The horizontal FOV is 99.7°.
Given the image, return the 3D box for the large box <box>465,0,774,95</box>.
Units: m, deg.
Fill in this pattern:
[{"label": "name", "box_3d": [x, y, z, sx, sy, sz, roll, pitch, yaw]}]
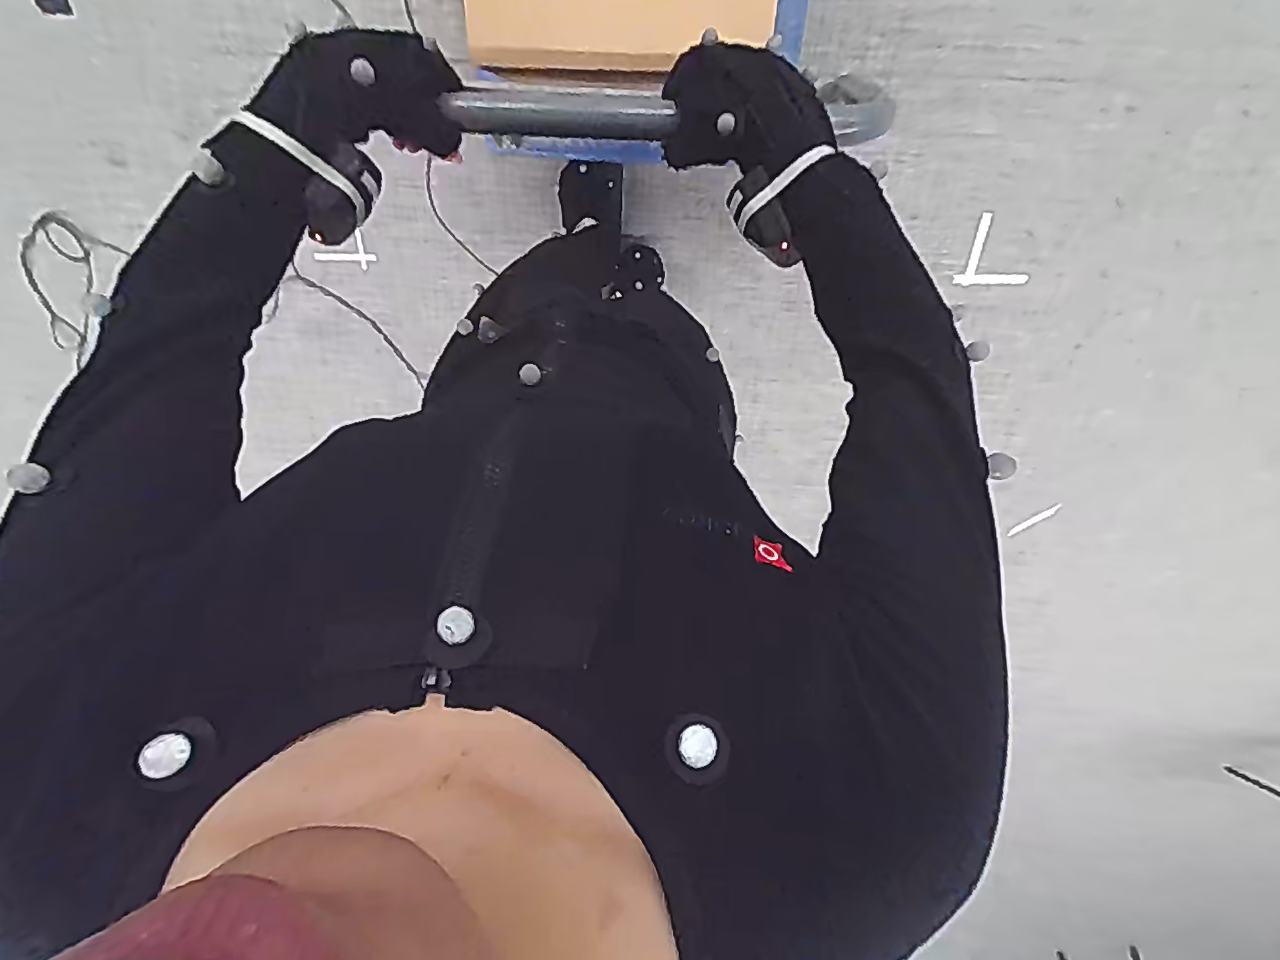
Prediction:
[{"label": "large box", "box_3d": [-0.027, -0.754, 0.775, 0.408, 0.320, 0.320, 1, 122, 0]}]
